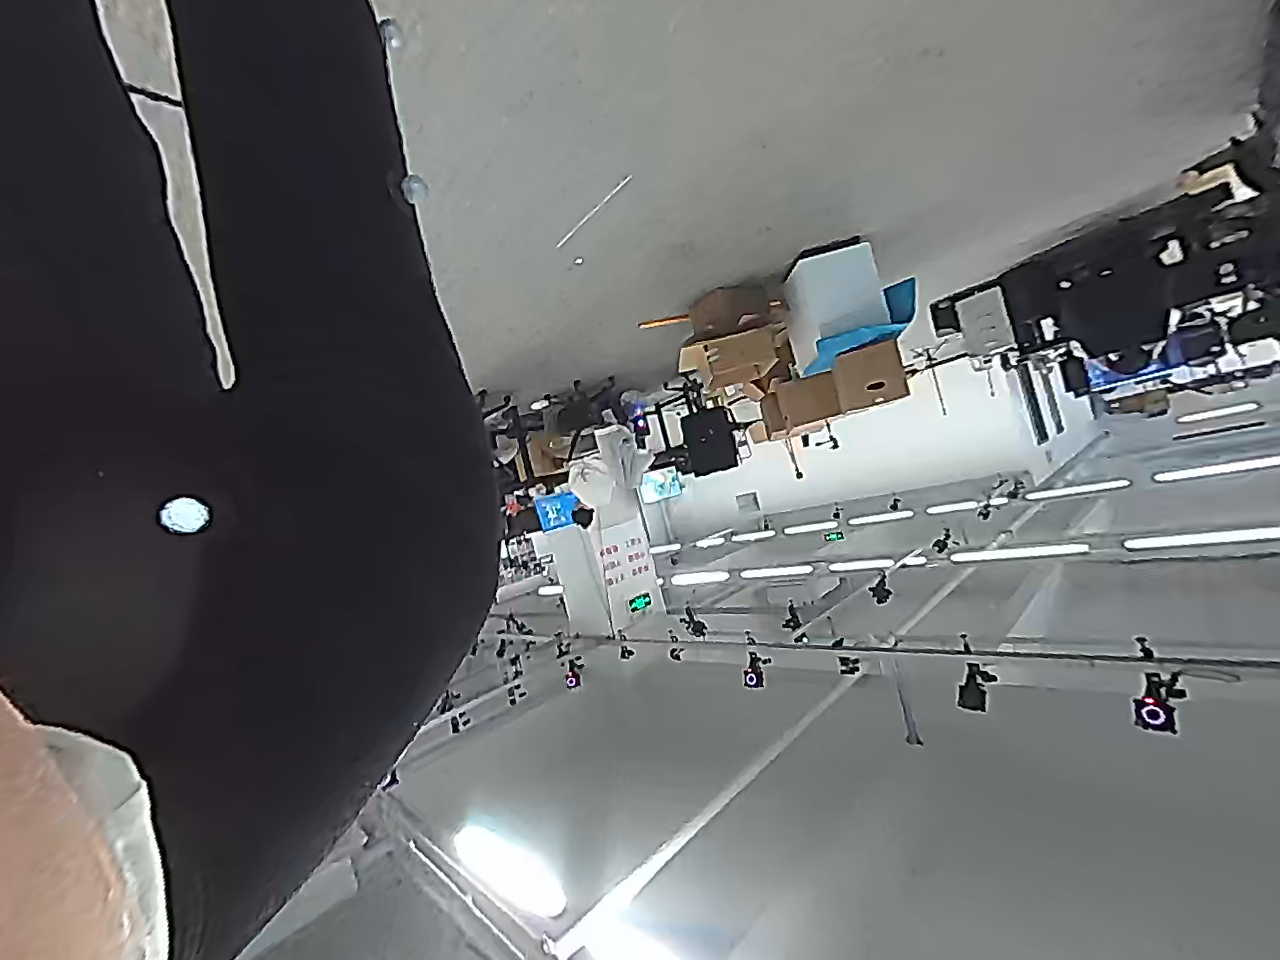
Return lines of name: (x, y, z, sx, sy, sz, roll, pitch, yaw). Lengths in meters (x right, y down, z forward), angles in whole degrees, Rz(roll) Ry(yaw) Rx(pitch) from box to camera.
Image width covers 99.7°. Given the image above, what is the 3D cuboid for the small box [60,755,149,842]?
small box: (-1.714, 1.004, 1.733, 0.168, 0.176, 0.179, -16, 178, 44)
